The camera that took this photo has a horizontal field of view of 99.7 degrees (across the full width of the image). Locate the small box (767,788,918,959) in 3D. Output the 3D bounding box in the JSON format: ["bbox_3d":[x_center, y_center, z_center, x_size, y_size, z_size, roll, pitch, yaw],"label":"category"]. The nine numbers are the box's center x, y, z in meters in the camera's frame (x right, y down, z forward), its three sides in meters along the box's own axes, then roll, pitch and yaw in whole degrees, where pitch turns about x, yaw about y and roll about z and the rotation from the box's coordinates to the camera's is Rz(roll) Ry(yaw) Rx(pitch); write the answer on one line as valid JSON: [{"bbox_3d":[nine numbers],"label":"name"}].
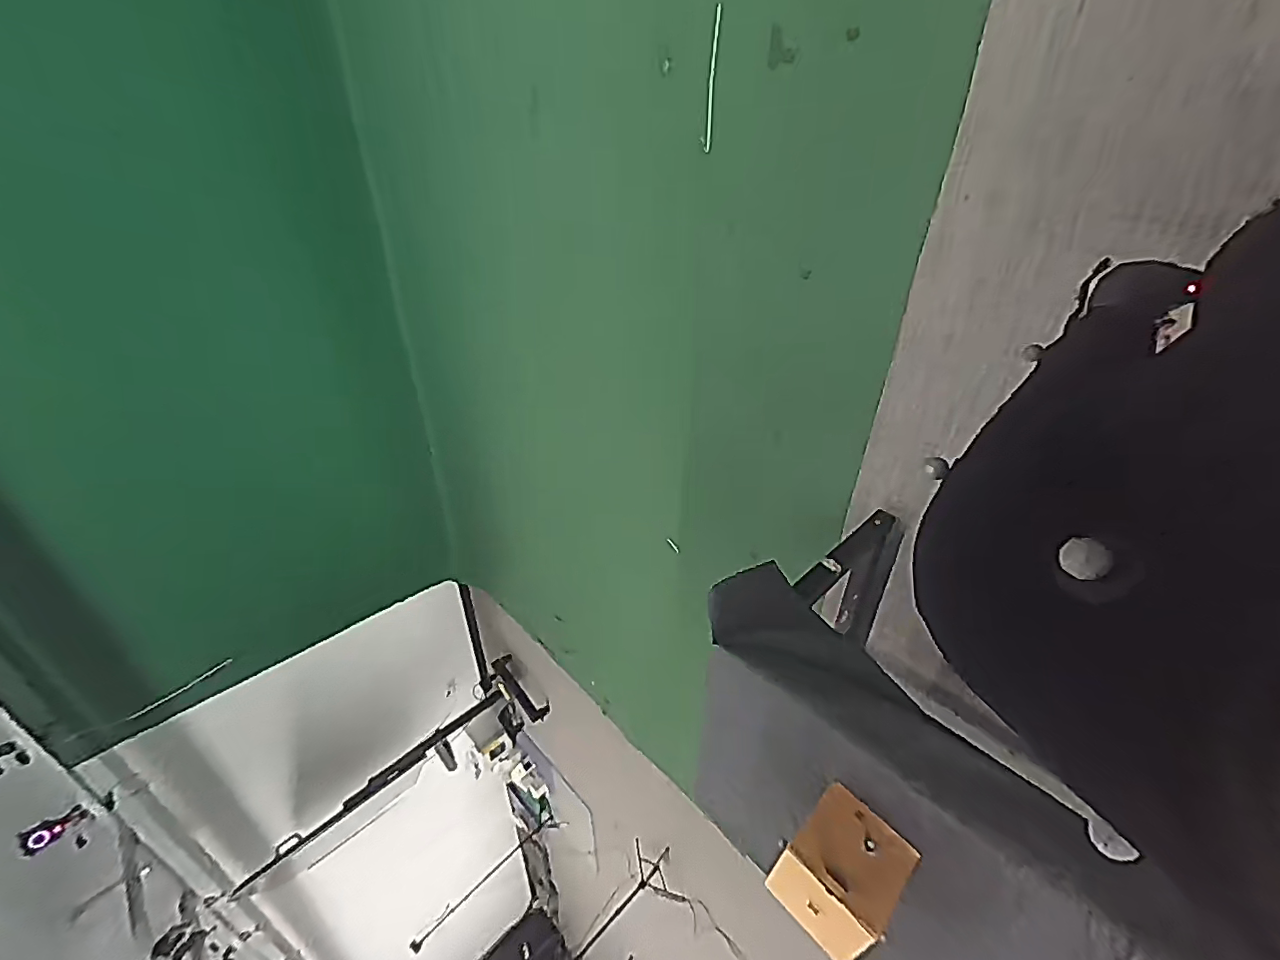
[{"bbox_3d":[0.353,0.692,0.947,0.168,0.176,0.179,35,135,33],"label":"small box"}]
